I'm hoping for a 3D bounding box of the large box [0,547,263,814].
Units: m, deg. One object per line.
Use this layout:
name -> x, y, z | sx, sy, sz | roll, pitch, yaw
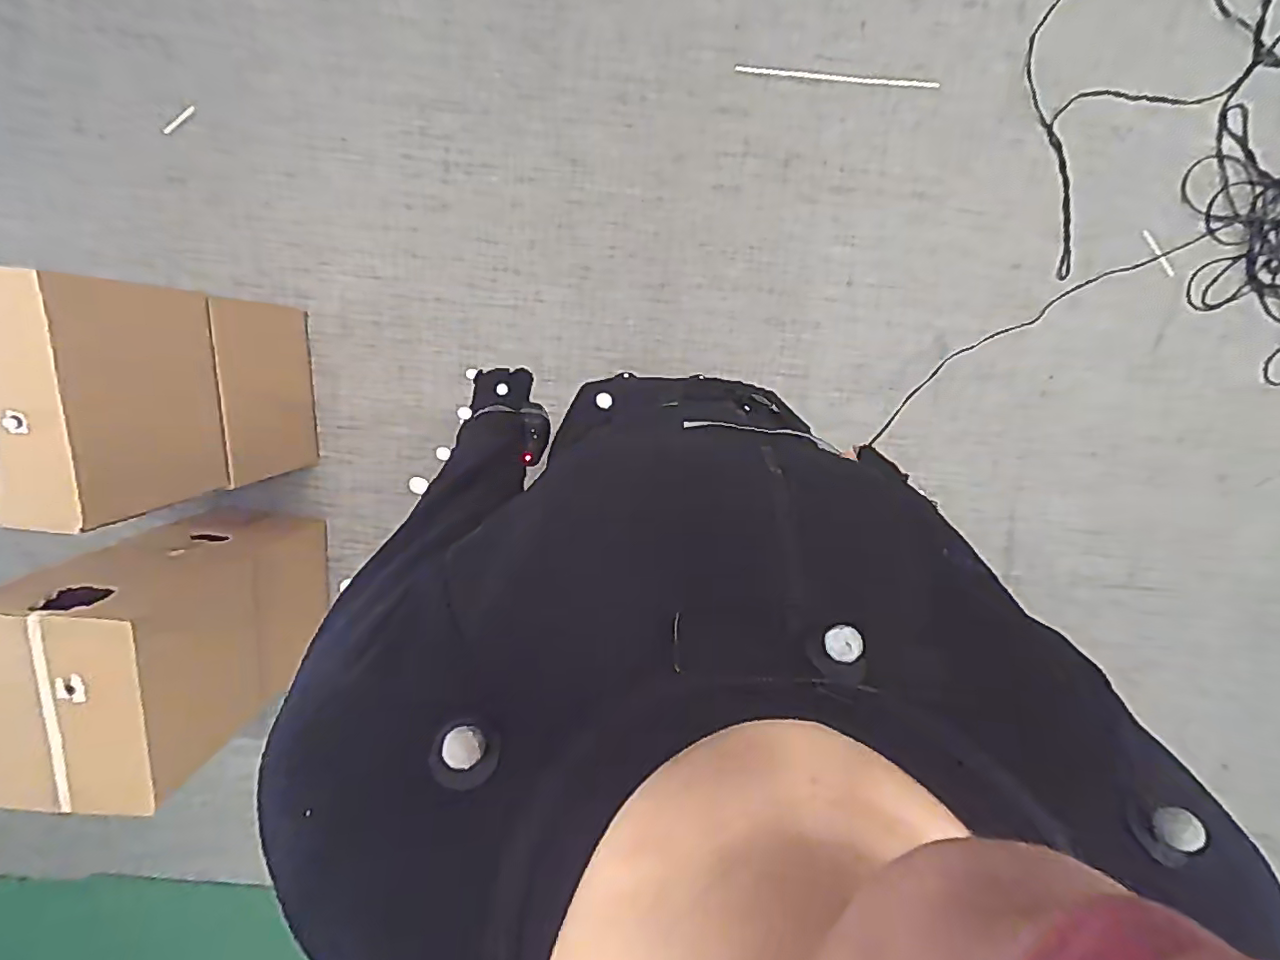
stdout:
large box -> -1.032, 0.385, 1.102 | 0.320, 0.320, 0.408 | 5, 102, -2
